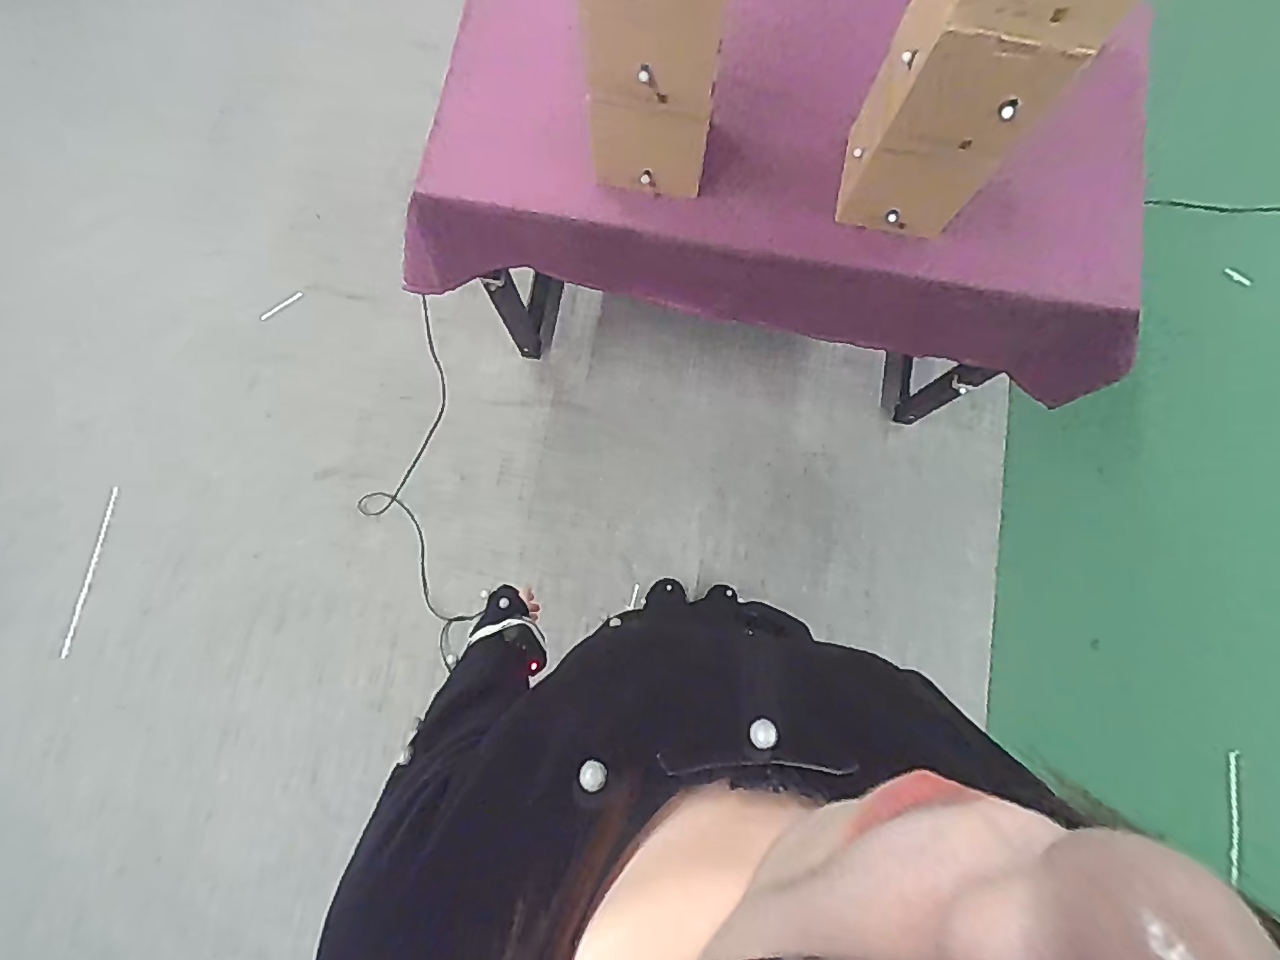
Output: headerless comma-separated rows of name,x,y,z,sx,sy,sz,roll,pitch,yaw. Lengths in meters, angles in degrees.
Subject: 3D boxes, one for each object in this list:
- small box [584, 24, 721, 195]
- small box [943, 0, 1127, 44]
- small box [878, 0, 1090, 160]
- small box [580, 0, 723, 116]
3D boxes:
small box,0.018,-0.578,0.842,0.179,0.176,0.168,9,80,0
small box,0.415,-0.567,0.511,0.168,0.176,0.179,10,80,1
small box,0.415,-0.538,0.671,0.168,0.176,0.179,10,80,1
small box,0.020,-0.611,0.680,0.168,0.176,0.179,10,80,2
